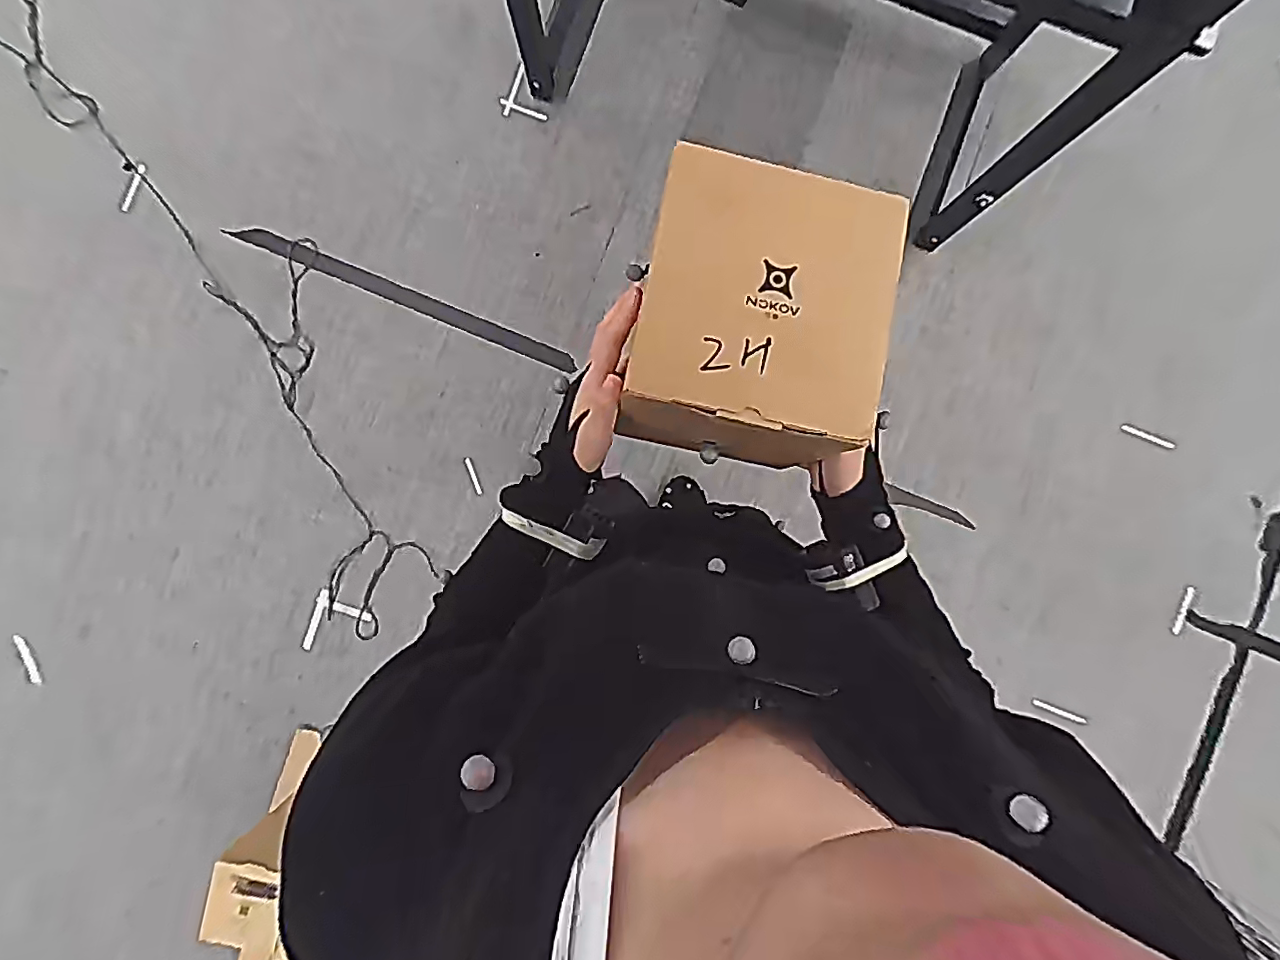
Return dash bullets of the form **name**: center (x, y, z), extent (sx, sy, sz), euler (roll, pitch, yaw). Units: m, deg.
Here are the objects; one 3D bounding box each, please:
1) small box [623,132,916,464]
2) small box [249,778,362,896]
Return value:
- **small box**: center (0.083, -0.120, 0.427), extent (0.168, 0.176, 0.179), euler (12, 85, -4)
- **small box**: center (-0.847, 0.906, 1.387), extent (0.168, 0.176, 0.179), euler (15, 90, -1)
